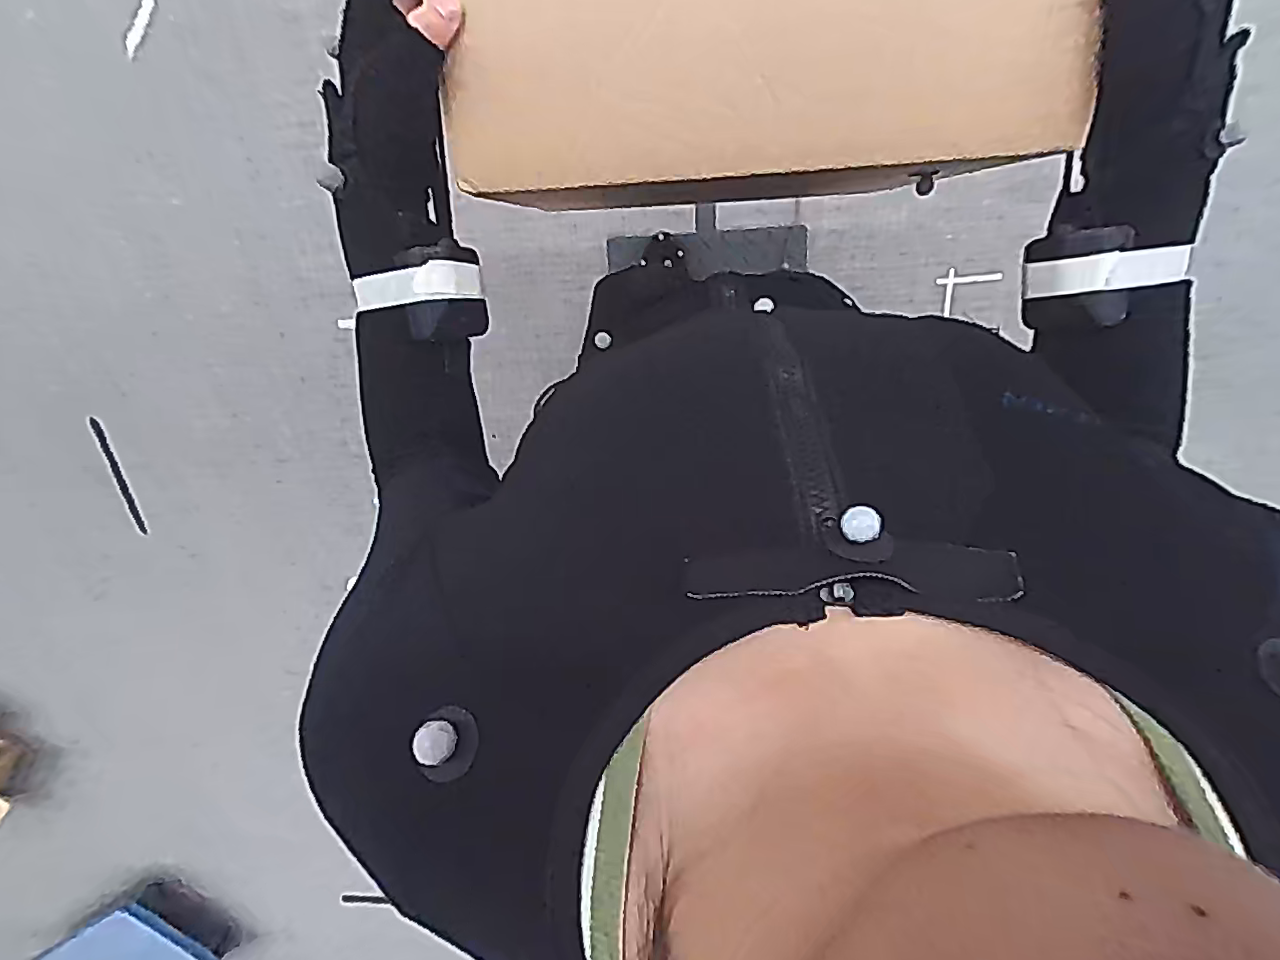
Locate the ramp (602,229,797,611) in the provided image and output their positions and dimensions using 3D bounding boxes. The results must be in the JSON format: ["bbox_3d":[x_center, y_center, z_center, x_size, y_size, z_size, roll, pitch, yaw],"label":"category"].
[{"bbox_3d":[0.164,-0.122,1.440,0.509,0.206,0.991,-3,111,6],"label":"ramp"}]

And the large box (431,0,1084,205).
[{"bbox_3d":[0.070,-0.412,0.437,0.408,0.320,0.320,-3,114,2],"label":"large box"}]
